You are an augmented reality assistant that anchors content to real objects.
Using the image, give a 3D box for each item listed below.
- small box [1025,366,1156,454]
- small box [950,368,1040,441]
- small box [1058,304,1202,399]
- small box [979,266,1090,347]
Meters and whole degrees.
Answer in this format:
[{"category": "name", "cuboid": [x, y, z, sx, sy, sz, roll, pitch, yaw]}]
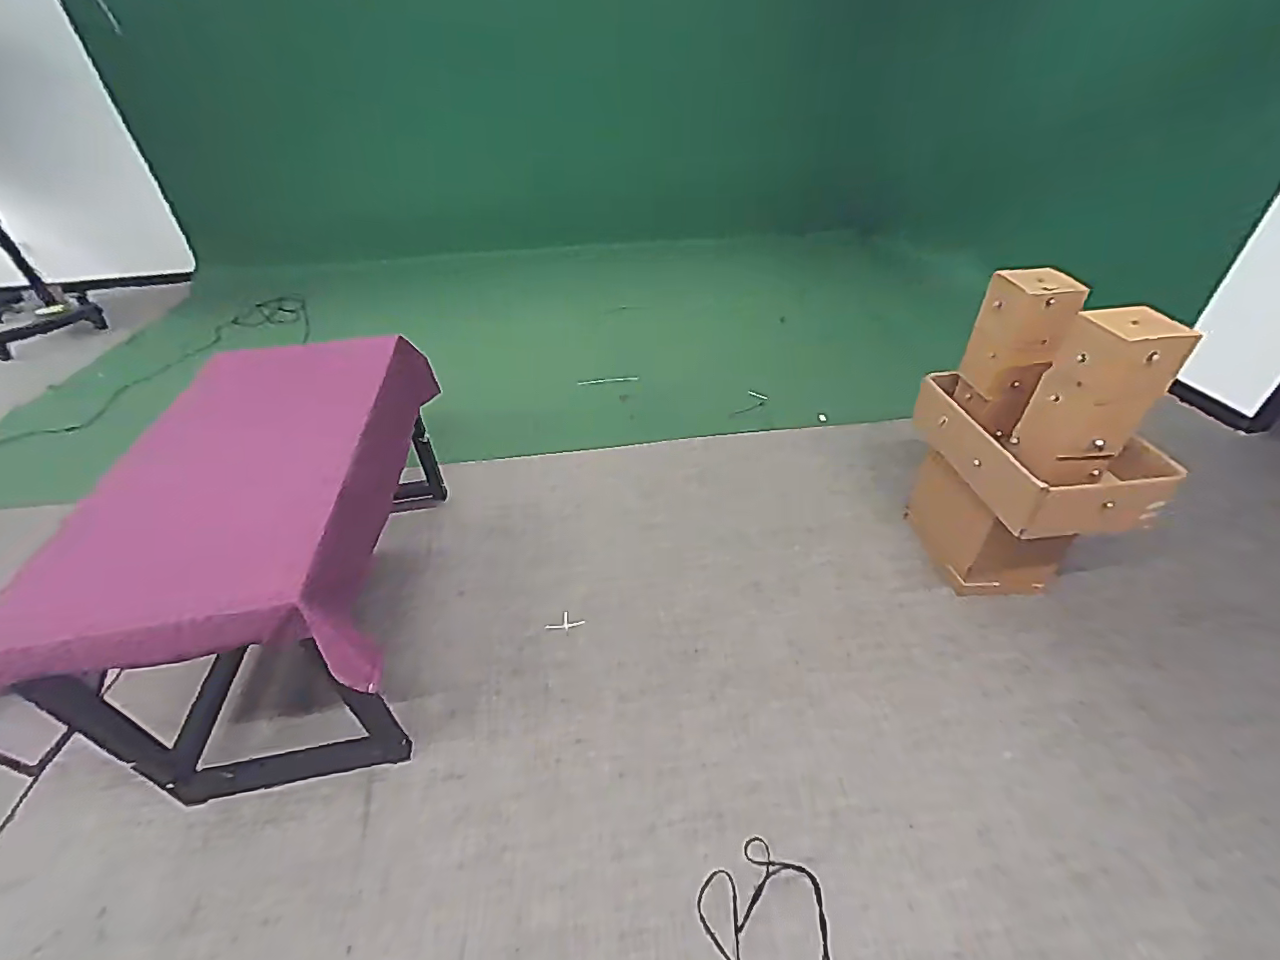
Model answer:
[{"category": "small box", "cuboid": [1.164, -0.185, 1.417, 0.168, 0.176, 0.179, -3, 40, 0]}, {"category": "small box", "cuboid": [1.147, -0.246, 1.755, 0.168, 0.176, 0.179, -5, 40, -1]}, {"category": "small box", "cuboid": [1.163, -0.308, 1.307, 0.179, 0.176, 0.168, -5, 40, -2]}, {"category": "small box", "cuboid": [1.112, -0.495, 1.545, 0.168, 0.176, 0.179, -4, 39, 0]}]
